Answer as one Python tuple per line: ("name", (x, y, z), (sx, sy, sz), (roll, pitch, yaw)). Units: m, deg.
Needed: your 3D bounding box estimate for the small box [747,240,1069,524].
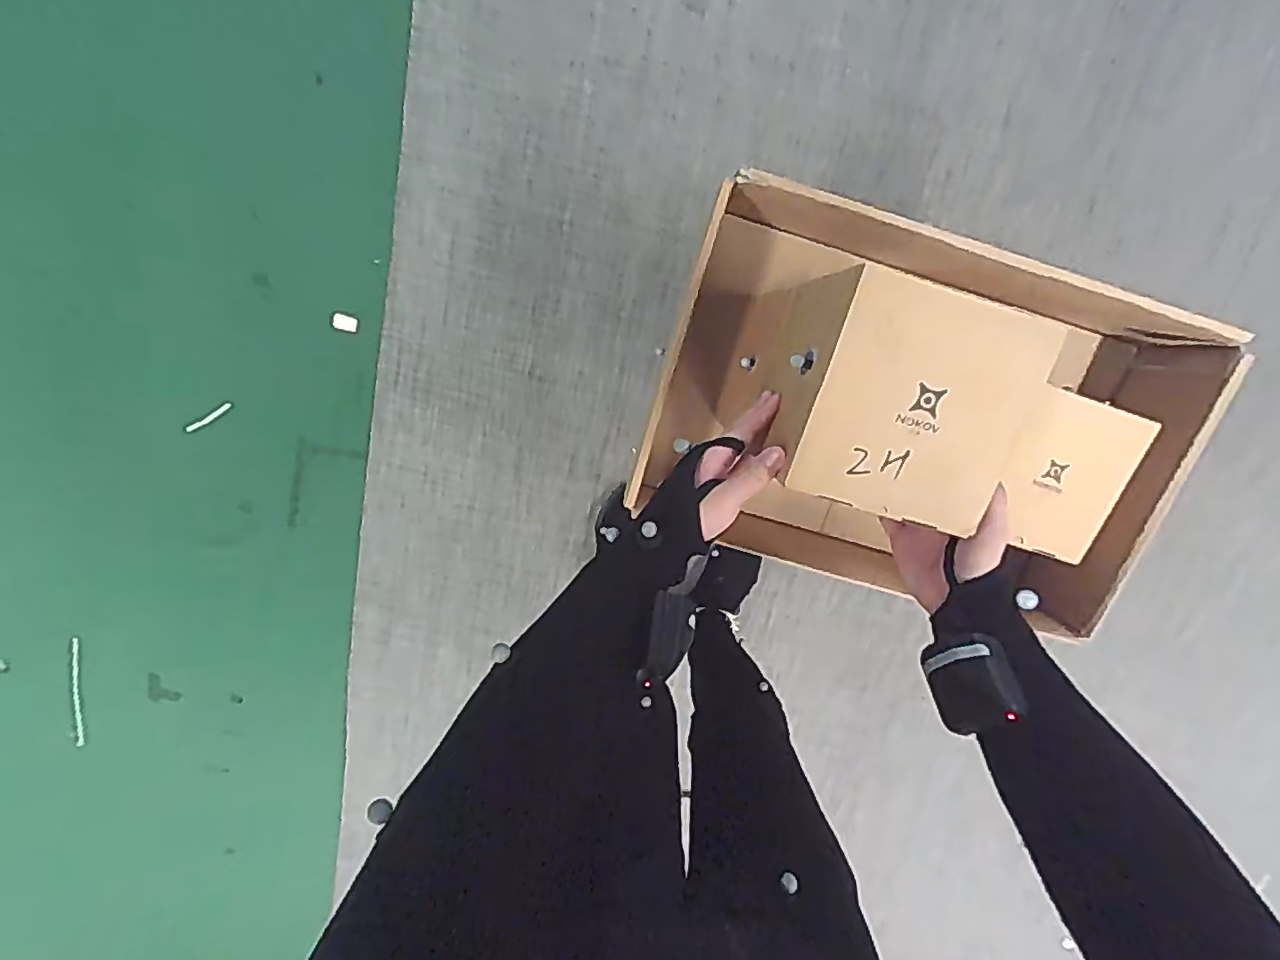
("small box", (0.208, -0.087, 0.480), (0.168, 0.176, 0.179), (16, 105, -5))
